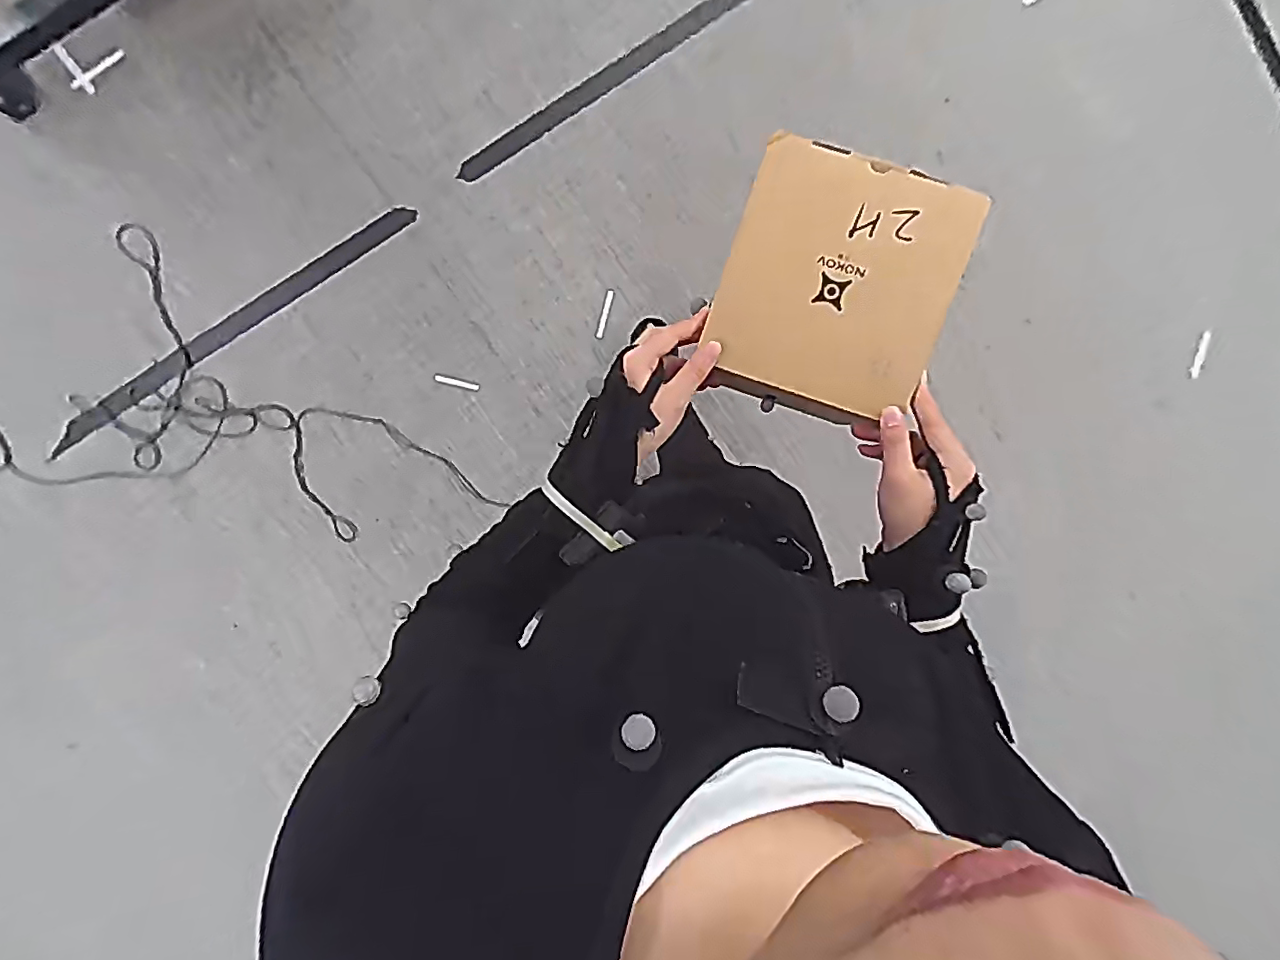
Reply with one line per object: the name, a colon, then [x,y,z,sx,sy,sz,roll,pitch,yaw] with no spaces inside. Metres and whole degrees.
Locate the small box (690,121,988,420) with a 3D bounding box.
small box: [0.149,-0.159,0.472,0.168,0.176,0.179,19,97,2]
